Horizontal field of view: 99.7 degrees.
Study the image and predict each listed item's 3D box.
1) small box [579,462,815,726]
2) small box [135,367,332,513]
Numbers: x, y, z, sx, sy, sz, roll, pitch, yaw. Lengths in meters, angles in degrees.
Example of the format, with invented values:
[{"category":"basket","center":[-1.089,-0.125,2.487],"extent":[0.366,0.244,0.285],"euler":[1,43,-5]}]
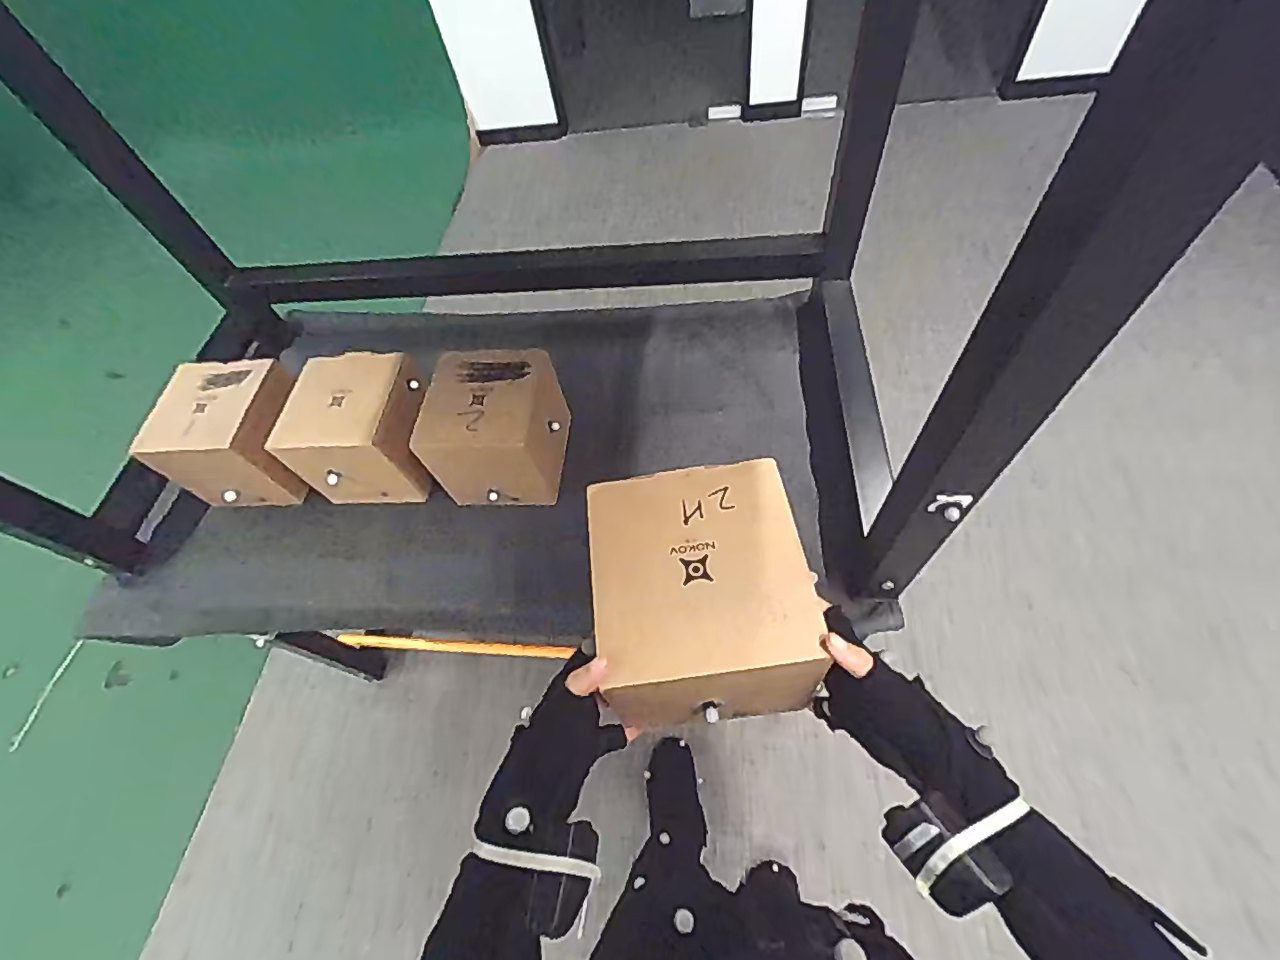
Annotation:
[{"category":"small box","center":[0.044,0.111,0.484],"extent":[0.168,0.176,0.179],"euler":[-8,54,2]},{"category":"small box","center":[-0.648,-0.062,0.892],"extent":[0.168,0.176,0.179],"euler":[-2,58,7]}]
